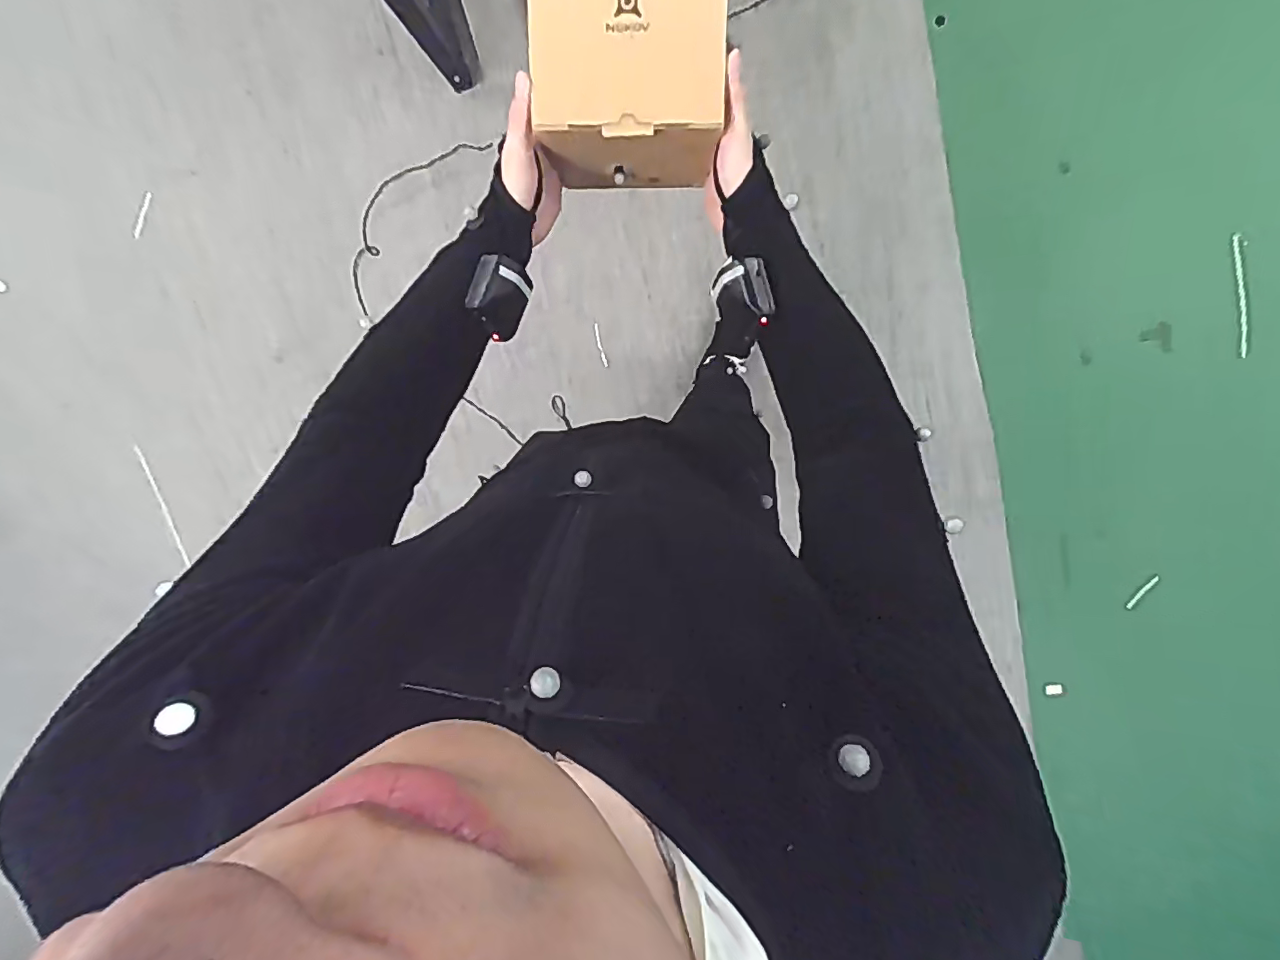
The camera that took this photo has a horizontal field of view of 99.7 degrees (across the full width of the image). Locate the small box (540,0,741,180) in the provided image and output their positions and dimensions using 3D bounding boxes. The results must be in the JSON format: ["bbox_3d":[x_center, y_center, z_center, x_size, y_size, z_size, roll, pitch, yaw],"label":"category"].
[{"bbox_3d":[0.000,-0.406,0.513,0.168,0.176,0.179,-1,104,1],"label":"small box"}]
